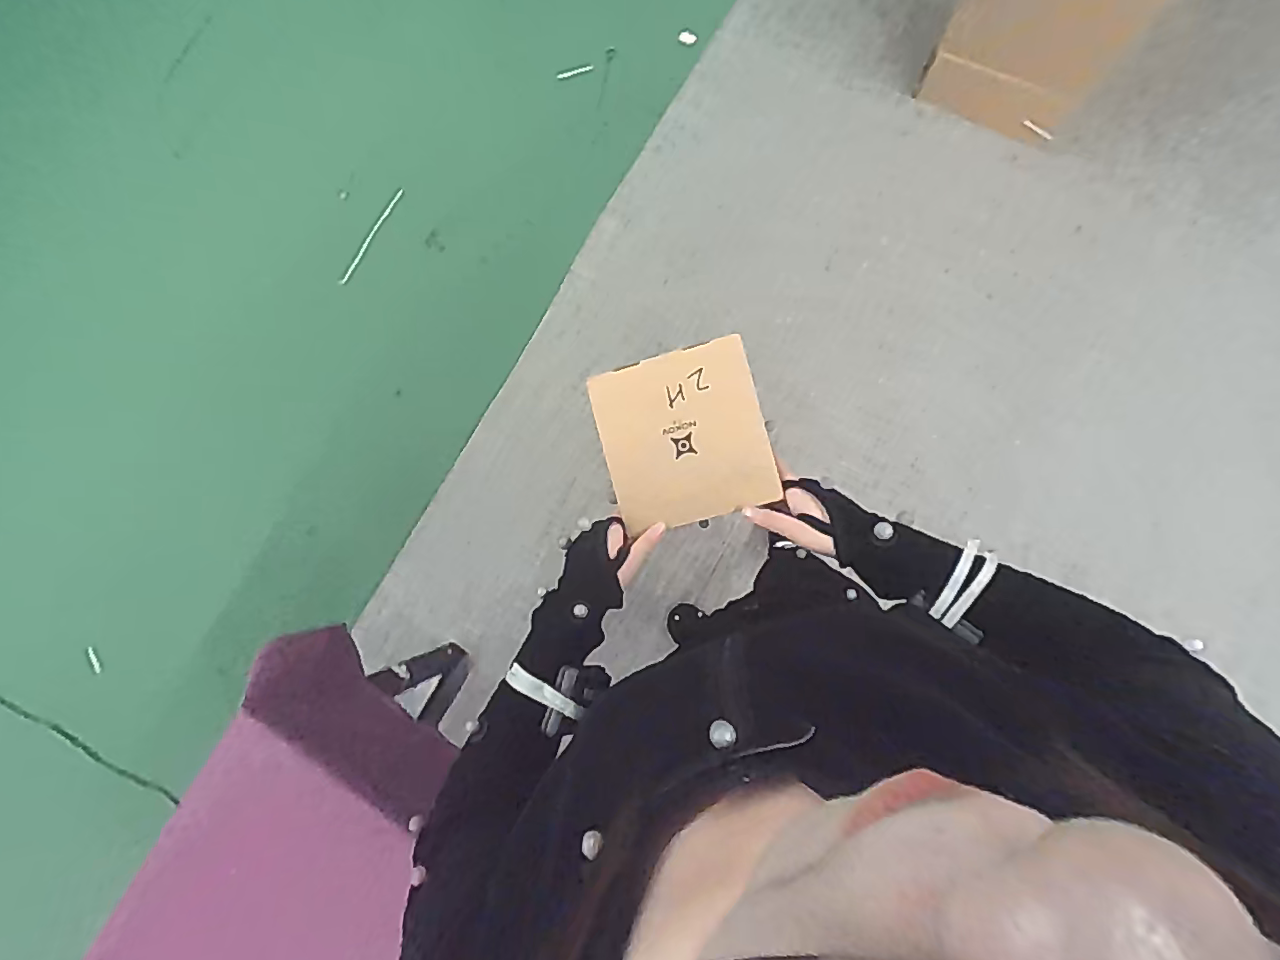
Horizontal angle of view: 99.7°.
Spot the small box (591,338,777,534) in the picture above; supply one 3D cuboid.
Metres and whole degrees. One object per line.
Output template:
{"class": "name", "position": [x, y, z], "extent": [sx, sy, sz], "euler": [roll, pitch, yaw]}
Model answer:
{"class": "small box", "position": [0.056, -0.047, 0.639], "extent": [0.168, 0.176, 0.179], "euler": [-14, 89, 8]}
